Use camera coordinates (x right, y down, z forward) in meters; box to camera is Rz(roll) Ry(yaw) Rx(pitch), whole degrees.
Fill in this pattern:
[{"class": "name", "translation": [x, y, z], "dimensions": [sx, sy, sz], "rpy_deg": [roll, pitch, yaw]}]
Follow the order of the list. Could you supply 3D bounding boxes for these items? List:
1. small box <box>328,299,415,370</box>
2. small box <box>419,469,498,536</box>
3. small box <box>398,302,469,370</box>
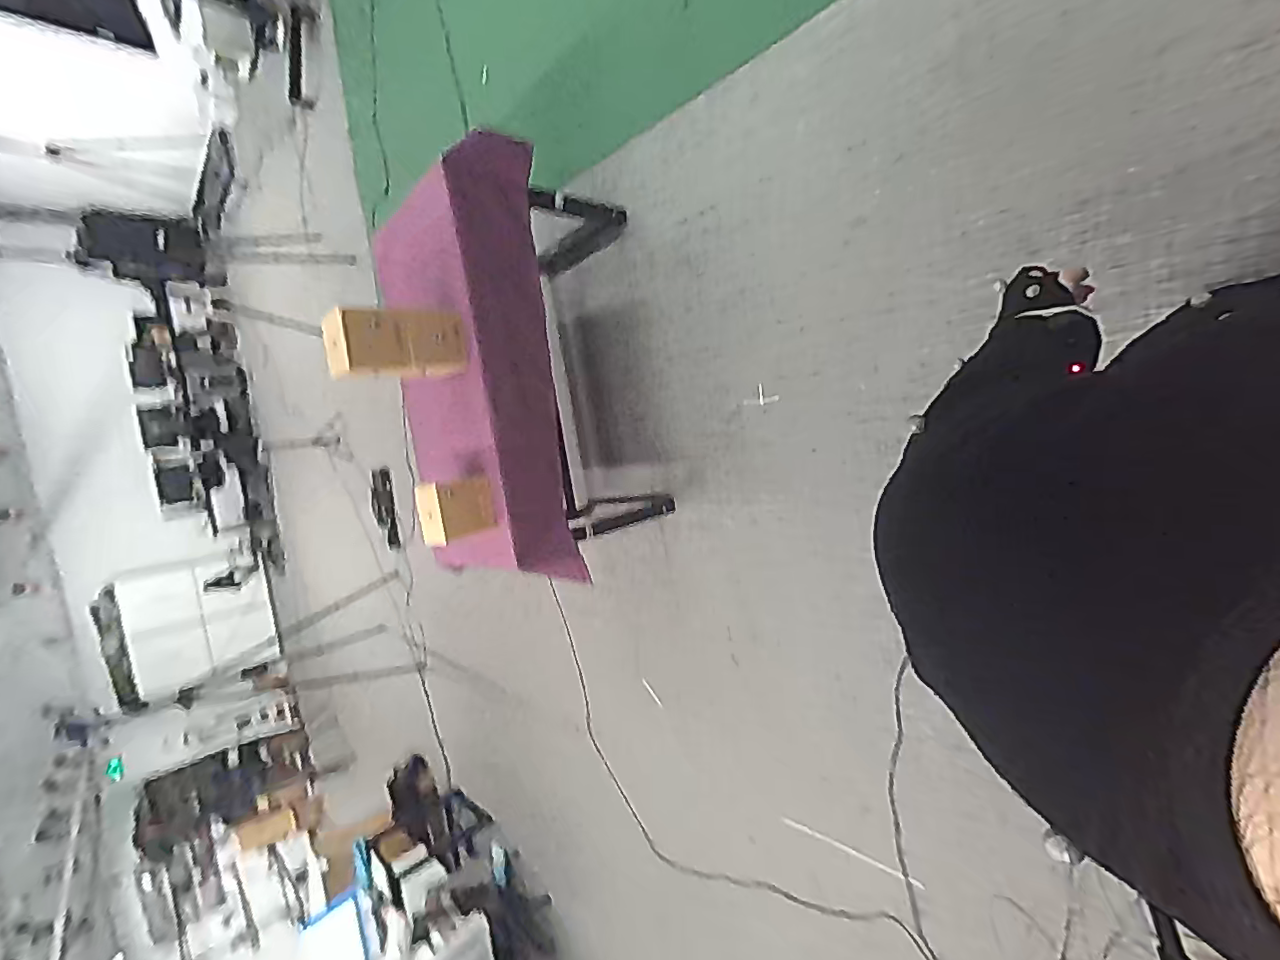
[{"class": "small box", "translation": [-0.745, -0.403, 1.512], "dimensions": [0.179, 0.176, 0.168], "rpy_deg": [1, 99, 47]}, {"class": "small box", "translation": [-0.555, 0.068, 1.663], "dimensions": [0.168, 0.176, 0.179], "rpy_deg": [-7, 93, 47]}, {"class": "small box", "translation": [-0.625, -0.429, 1.620], "dimensions": [0.179, 0.176, 0.168], "rpy_deg": [-2, 97, 47]}]
